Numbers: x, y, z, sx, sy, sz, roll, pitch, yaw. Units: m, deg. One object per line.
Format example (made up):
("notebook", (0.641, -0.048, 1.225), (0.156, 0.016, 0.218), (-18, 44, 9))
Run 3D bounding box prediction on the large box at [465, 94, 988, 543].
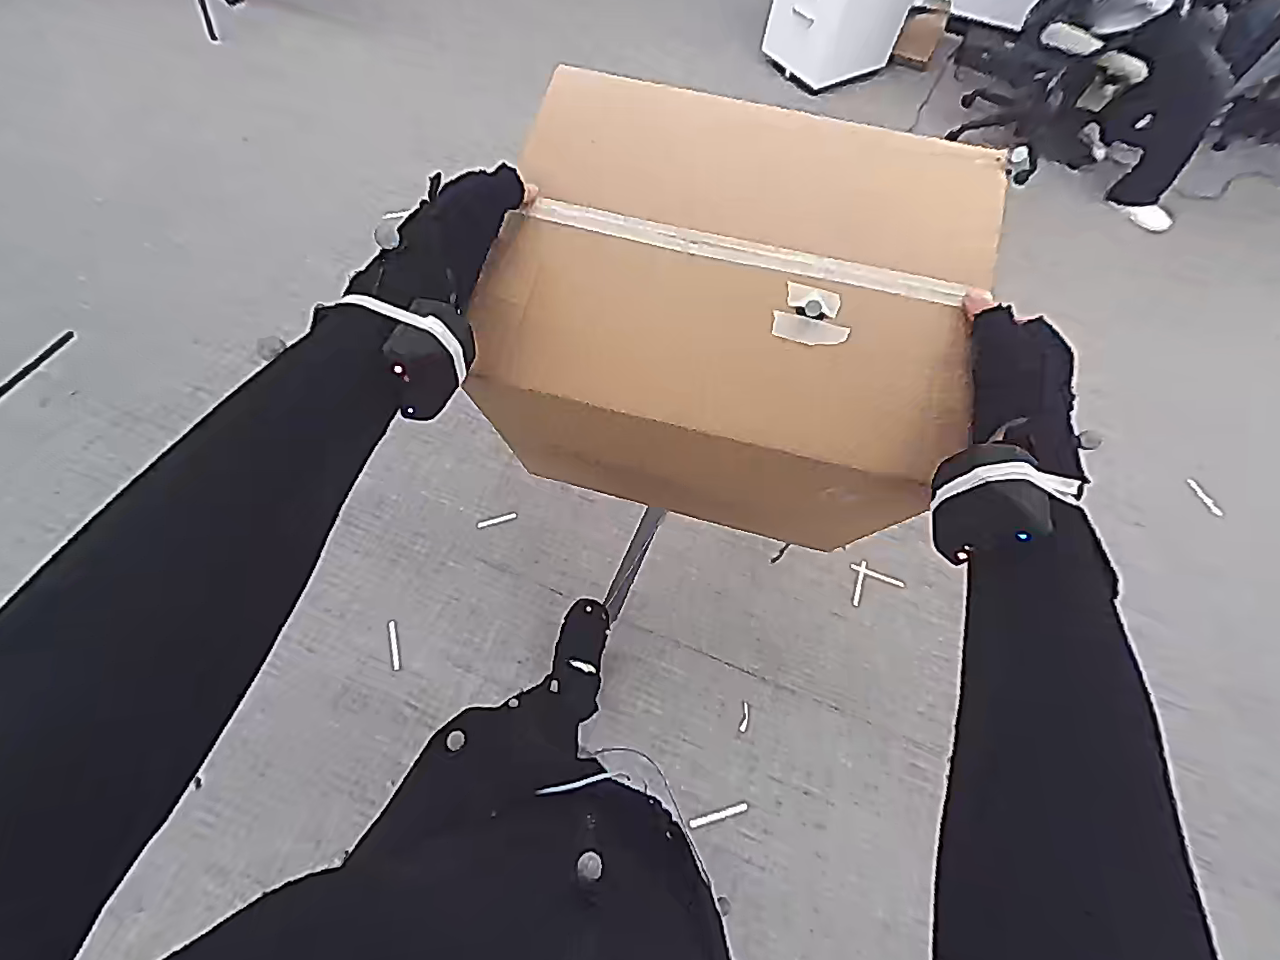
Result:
("large box", (0.084, -0.143, 0.606), (0.408, 0.320, 0.320), (15, 77, 5))
